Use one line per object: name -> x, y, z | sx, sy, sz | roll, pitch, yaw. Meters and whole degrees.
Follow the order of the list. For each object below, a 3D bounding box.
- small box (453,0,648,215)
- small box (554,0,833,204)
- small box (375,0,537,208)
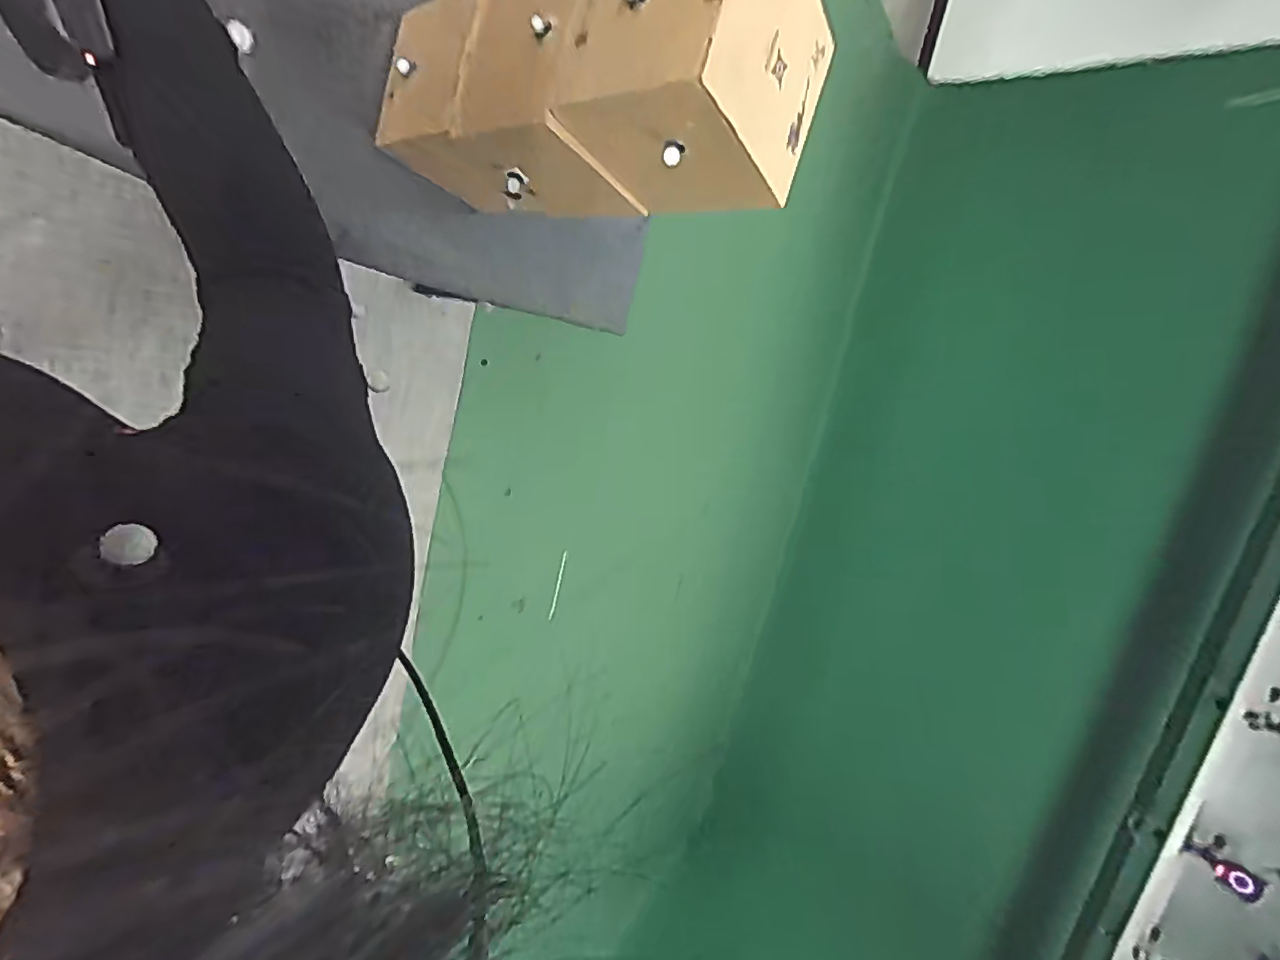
small box -> -0.078, -0.419, 0.595 | 0.168, 0.176, 0.179 | 13, 97, -53
small box -> 0.049, -0.376, 0.501 | 0.179, 0.176, 0.168 | 16, 93, -53
small box -> -0.200, -0.470, 0.689 | 0.179, 0.176, 0.168 | 9, 98, -54
